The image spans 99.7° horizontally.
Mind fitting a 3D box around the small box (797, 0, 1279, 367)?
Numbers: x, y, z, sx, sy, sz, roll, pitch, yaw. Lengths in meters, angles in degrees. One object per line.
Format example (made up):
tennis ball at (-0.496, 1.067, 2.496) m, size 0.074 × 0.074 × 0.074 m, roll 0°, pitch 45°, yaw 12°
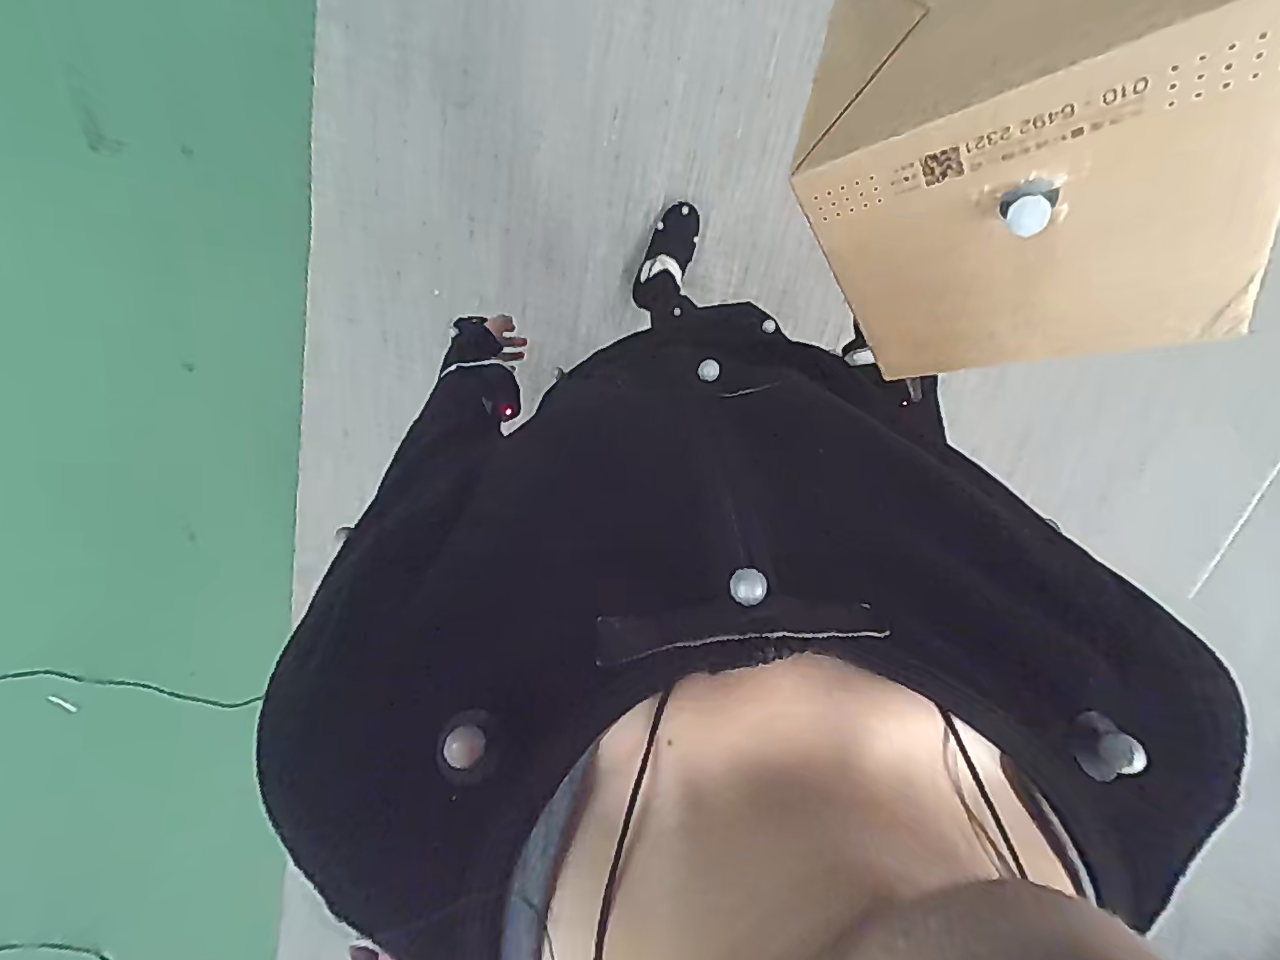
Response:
small box at (0.200, -0.188, 0.280) m, size 0.176 × 0.168 × 0.179 m, roll 37°, pitch 63°, yaw -42°
